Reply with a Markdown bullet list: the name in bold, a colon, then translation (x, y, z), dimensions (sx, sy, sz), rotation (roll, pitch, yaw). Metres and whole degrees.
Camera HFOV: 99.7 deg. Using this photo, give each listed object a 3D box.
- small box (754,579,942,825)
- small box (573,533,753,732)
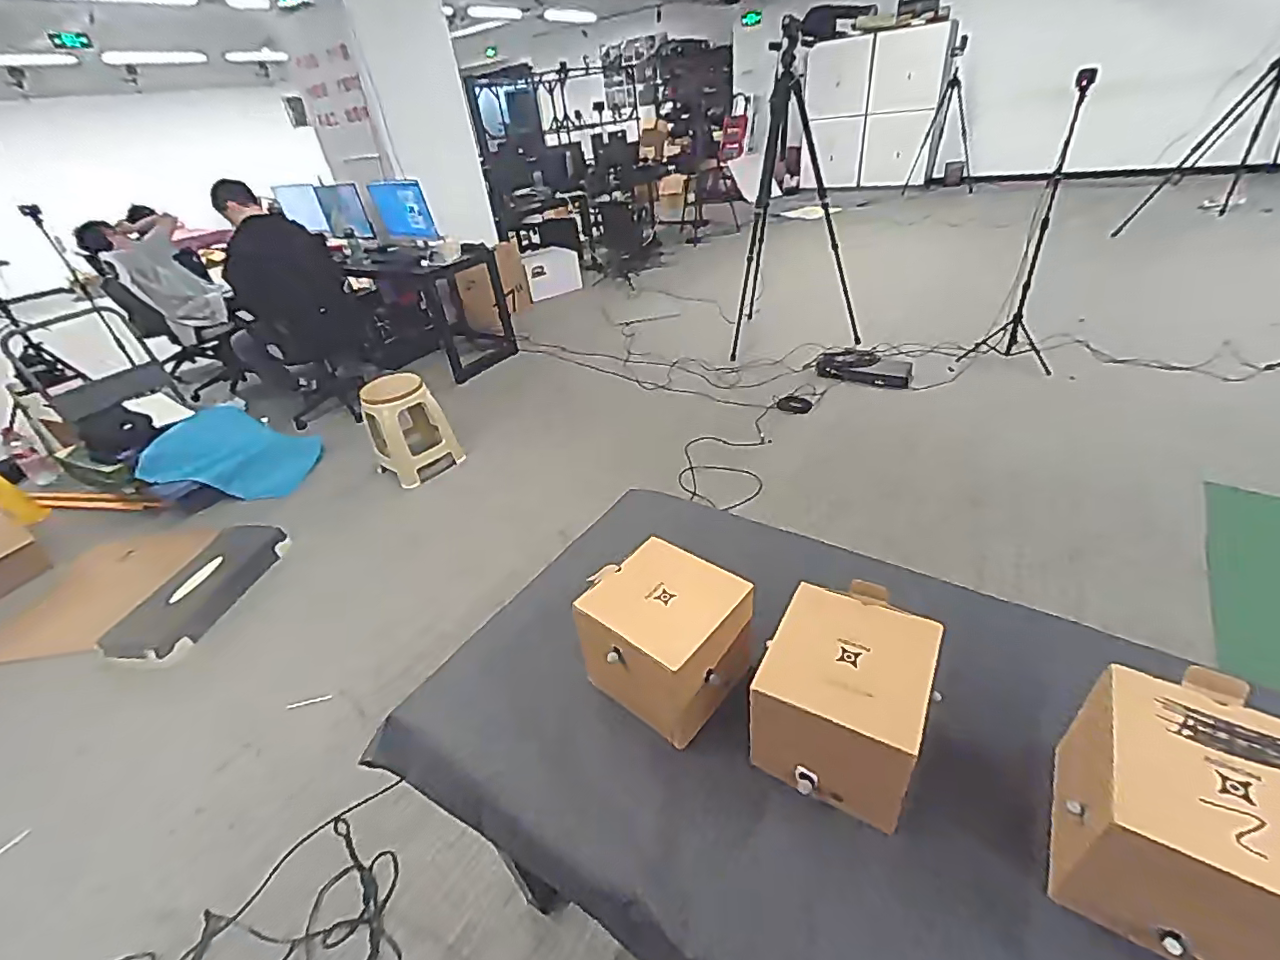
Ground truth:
- **small box**: translation (0.240, 0.254, 0.639), dimensions (0.168, 0.176, 0.179), rotation (13, 39, 29)
- **small box**: translation (0.037, 0.209, 0.740), dimensions (0.179, 0.176, 0.168), rotation (23, 44, 36)
